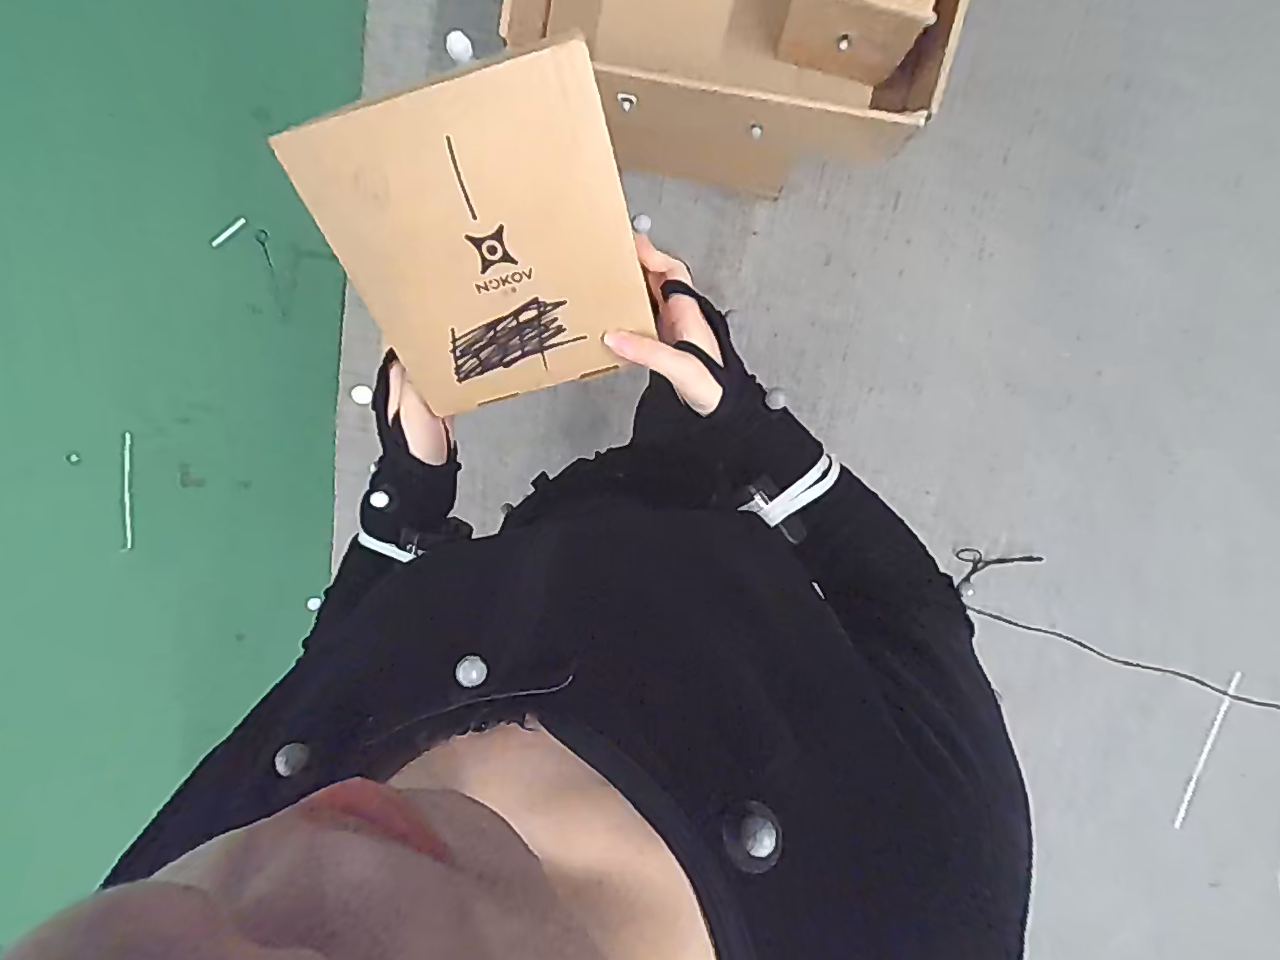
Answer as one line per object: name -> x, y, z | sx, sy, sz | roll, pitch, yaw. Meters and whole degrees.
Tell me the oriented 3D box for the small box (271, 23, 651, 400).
small box -> -0.094, -0.187, 0.378 | 0.168, 0.176, 0.179 | -14, 130, 5
